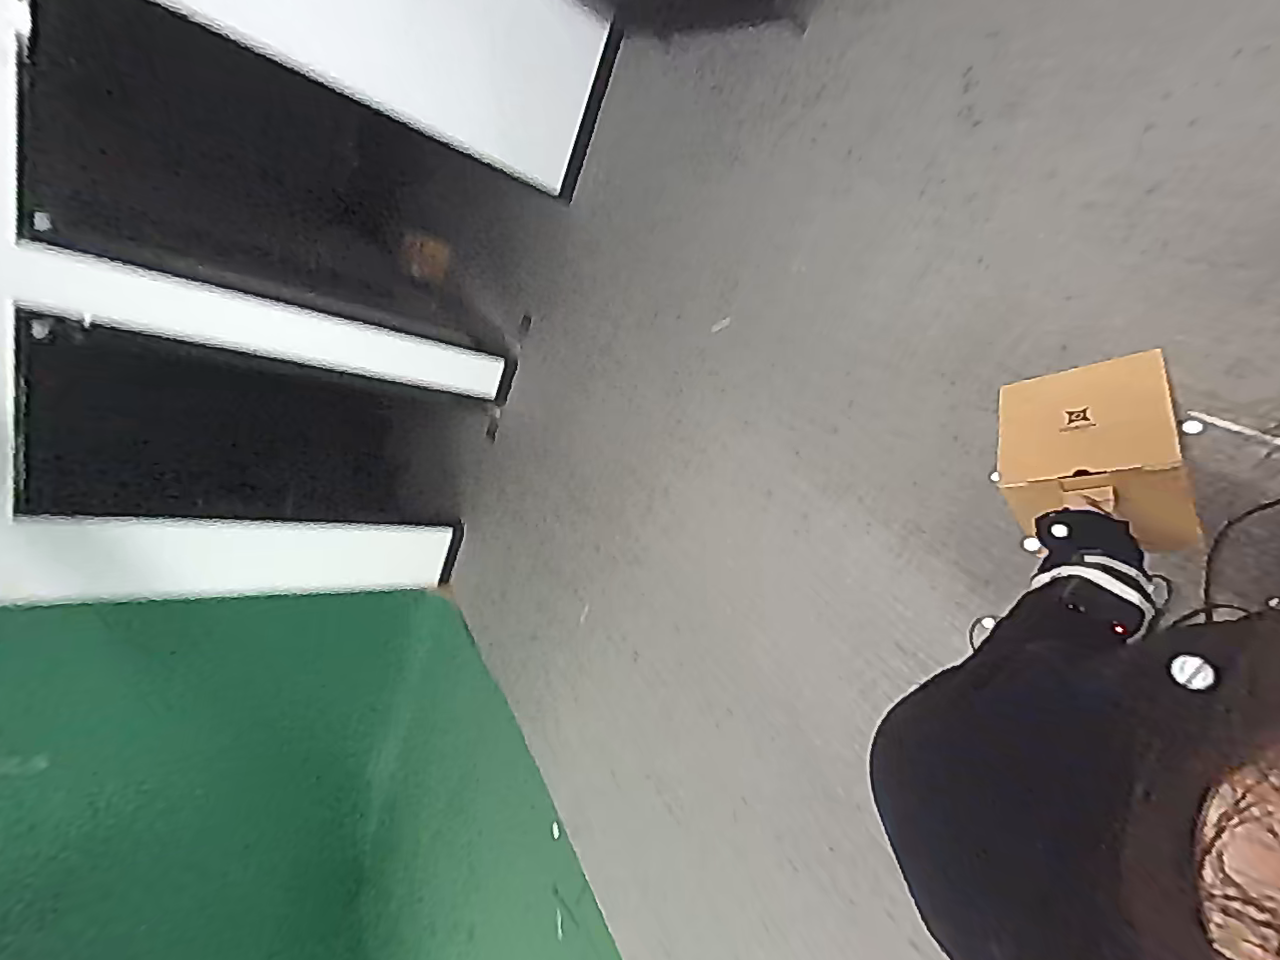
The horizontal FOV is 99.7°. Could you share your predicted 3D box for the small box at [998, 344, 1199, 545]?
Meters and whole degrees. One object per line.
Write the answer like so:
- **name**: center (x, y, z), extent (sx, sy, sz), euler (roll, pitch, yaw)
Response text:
- **small box**: center (0.578, -0.035, 0.687), extent (0.168, 0.176, 0.179), euler (-11, 47, 46)
